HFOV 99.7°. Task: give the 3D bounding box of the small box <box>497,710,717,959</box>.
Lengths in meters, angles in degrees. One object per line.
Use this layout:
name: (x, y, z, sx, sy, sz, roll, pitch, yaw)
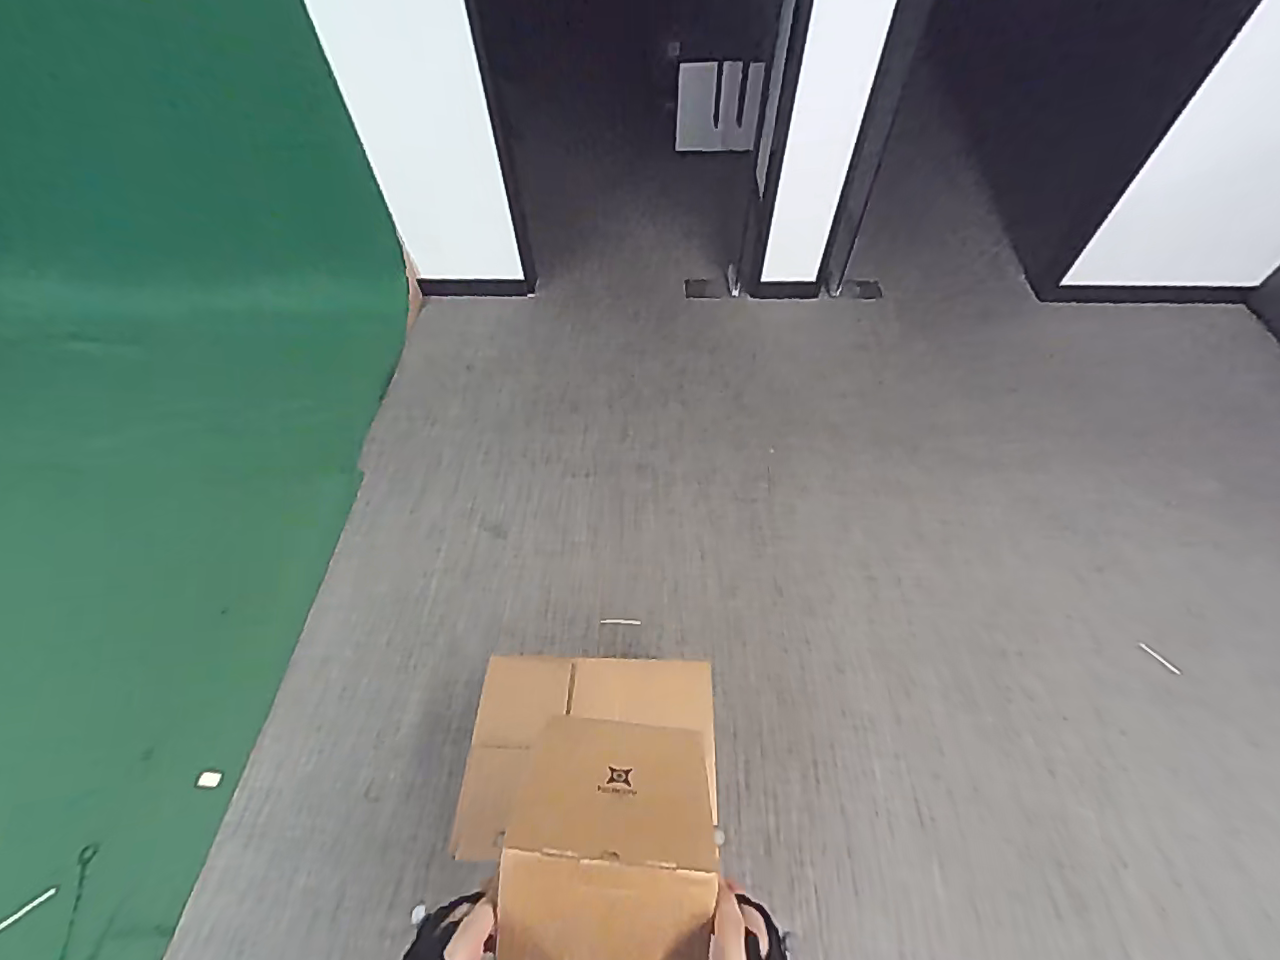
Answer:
small box: (-0.029, 0.349, 0.502, 0.168, 0.179, 0.176, 8, 100, 1)
